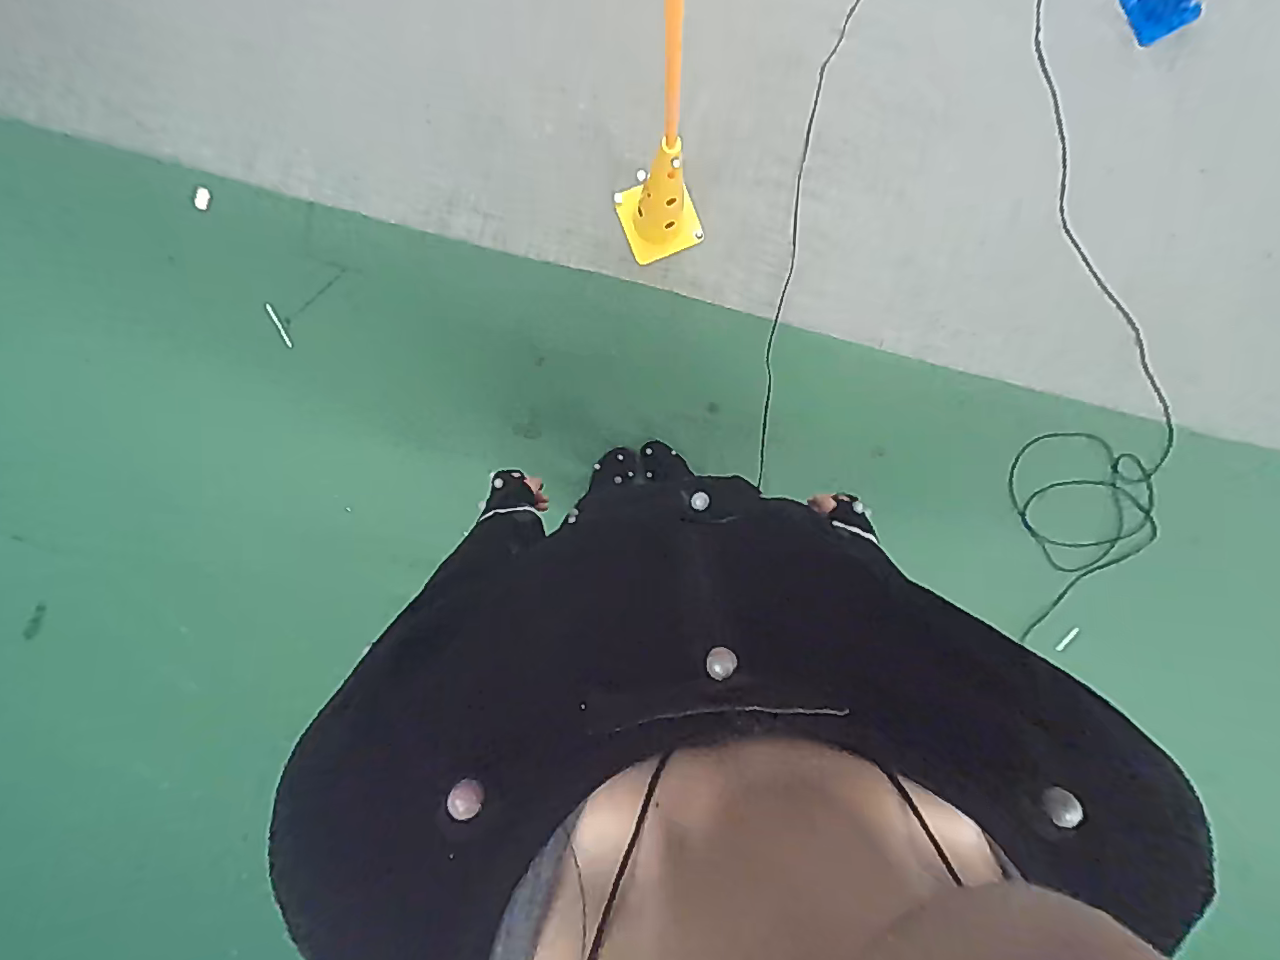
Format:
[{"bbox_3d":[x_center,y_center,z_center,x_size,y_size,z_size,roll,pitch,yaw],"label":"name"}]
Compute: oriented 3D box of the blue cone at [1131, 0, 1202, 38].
[{"bbox_3d":[1.450,-1.334,1.322,0.193,0.380,0.192,-31,93,-3],"label":"blue cone"}]
